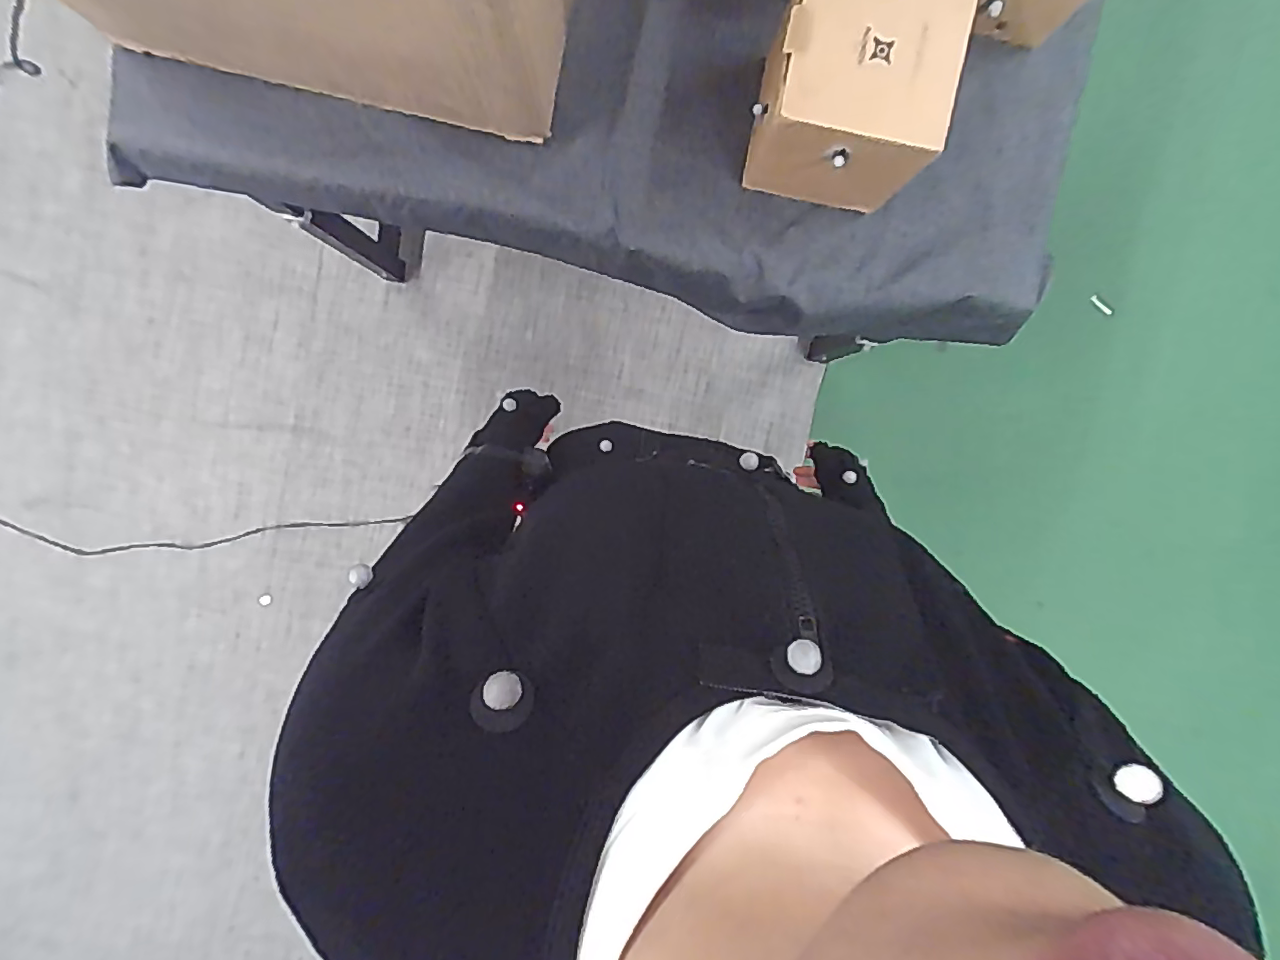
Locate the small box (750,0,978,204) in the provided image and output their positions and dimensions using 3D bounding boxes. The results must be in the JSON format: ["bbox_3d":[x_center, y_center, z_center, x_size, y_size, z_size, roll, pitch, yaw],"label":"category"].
[{"bbox_3d":[0.239,-0.444,0.622,0.179,0.176,0.168,10,96,-4],"label":"small box"}]

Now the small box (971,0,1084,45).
[{"bbox_3d":[0.454,-0.652,0.606,0.168,0.176,0.179,13,96,-3],"label":"small box"}]
